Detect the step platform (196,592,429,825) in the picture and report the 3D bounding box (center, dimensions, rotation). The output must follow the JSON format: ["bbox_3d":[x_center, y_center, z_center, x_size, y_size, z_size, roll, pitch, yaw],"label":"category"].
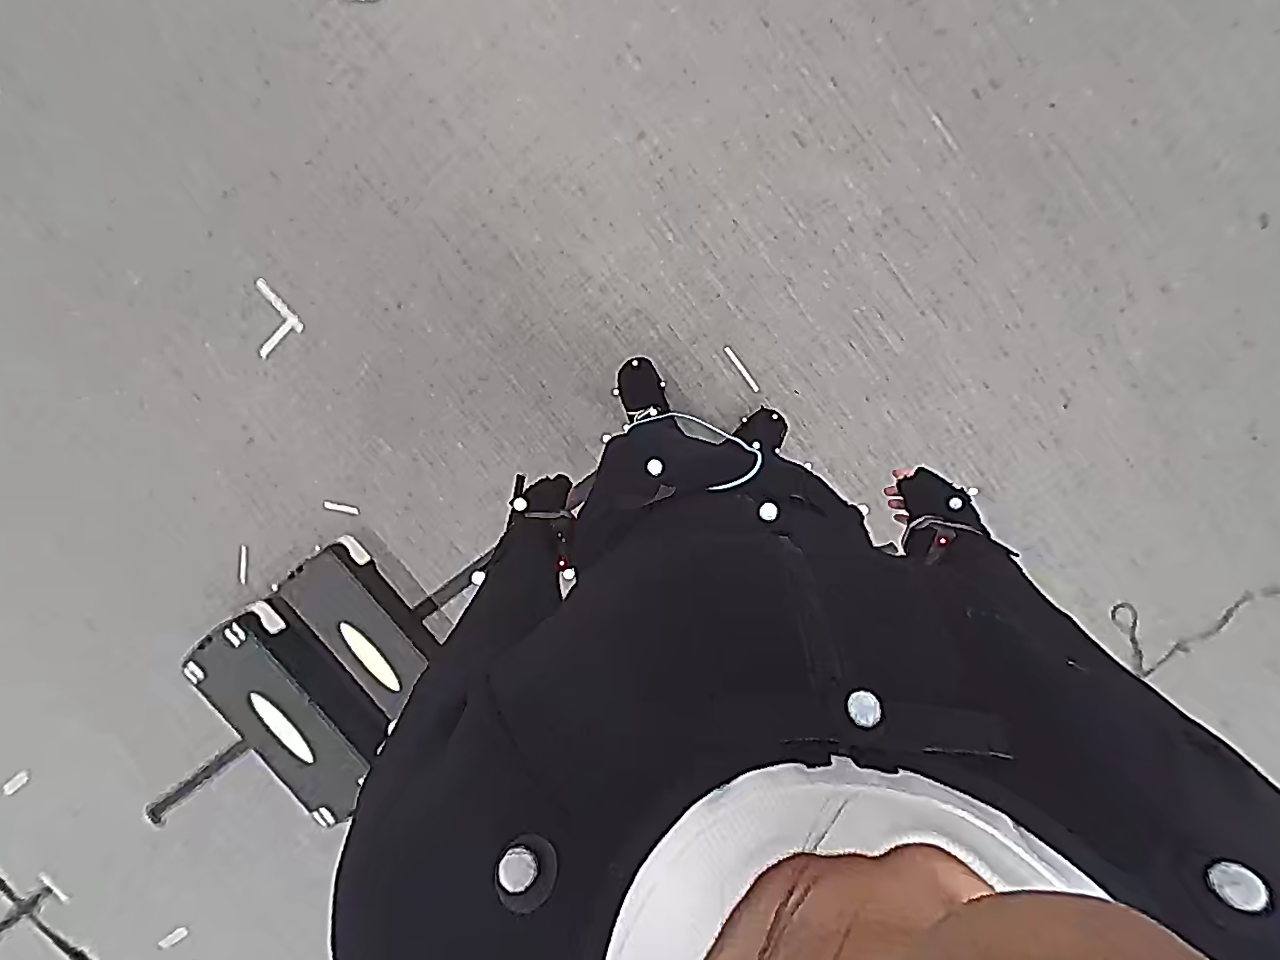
[{"bbox_3d":[-0.969,0.684,1.623,0.286,0.204,0.684,-38,93,11],"label":"step platform"}]
